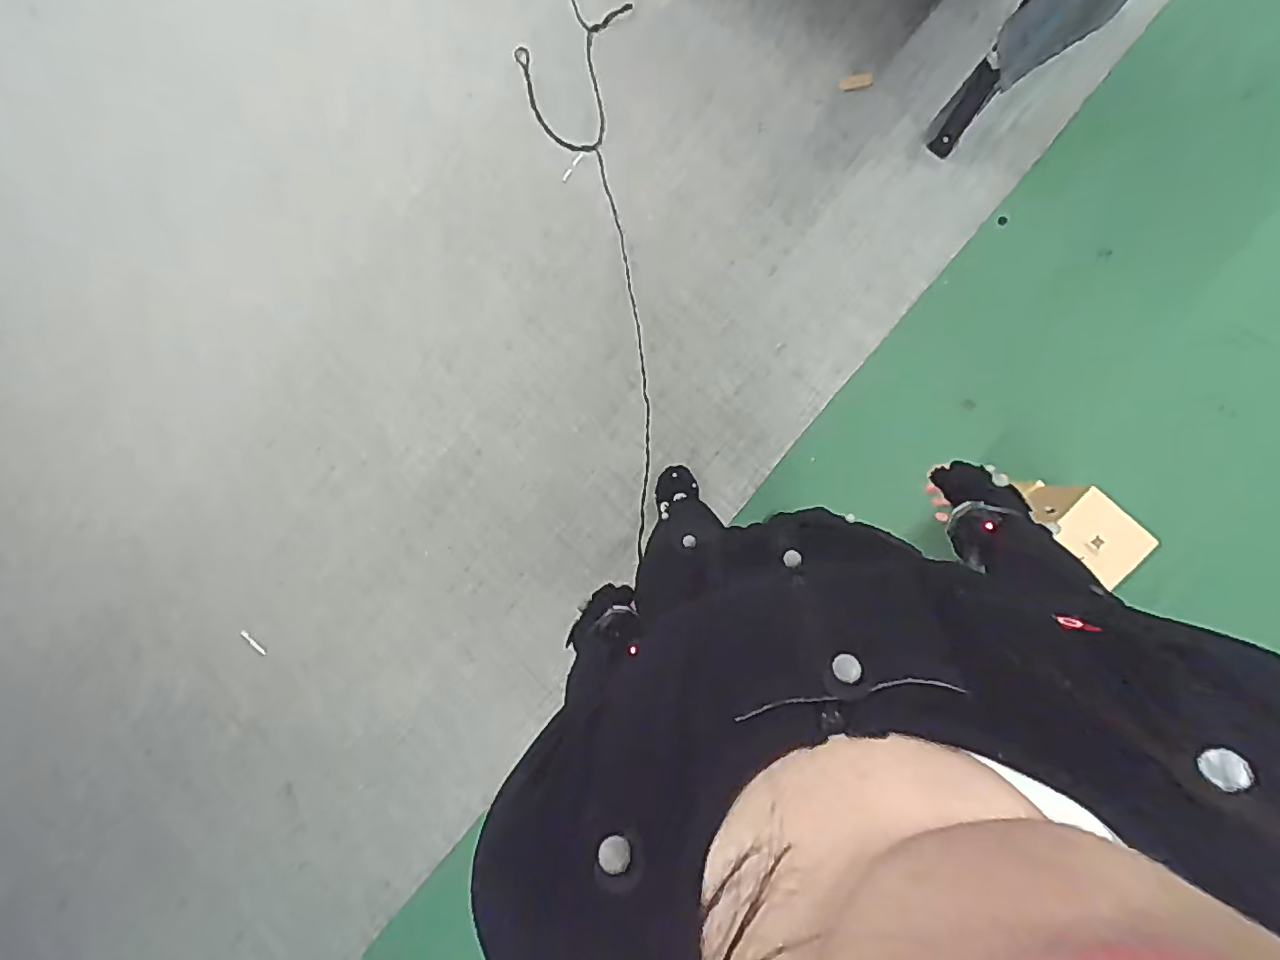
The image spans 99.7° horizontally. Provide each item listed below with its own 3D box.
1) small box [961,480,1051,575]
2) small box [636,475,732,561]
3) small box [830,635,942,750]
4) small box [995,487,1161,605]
[{"bbox_3d":[0.924,0.120,1.304,0.179,0.176,0.168,45,94,6],"label":"small box"},{"bbox_3d":[0.111,0.097,1.427,0.179,0.176,0.168,32,103,26],"label":"small box"},{"bbox_3d":[0.594,0.517,1.339,0.168,0.176,0.179,44,94,6],"label":"small box"},{"bbox_3d":[0.905,0.130,1.140,0.168,0.176,0.179,44,94,6],"label":"small box"}]
